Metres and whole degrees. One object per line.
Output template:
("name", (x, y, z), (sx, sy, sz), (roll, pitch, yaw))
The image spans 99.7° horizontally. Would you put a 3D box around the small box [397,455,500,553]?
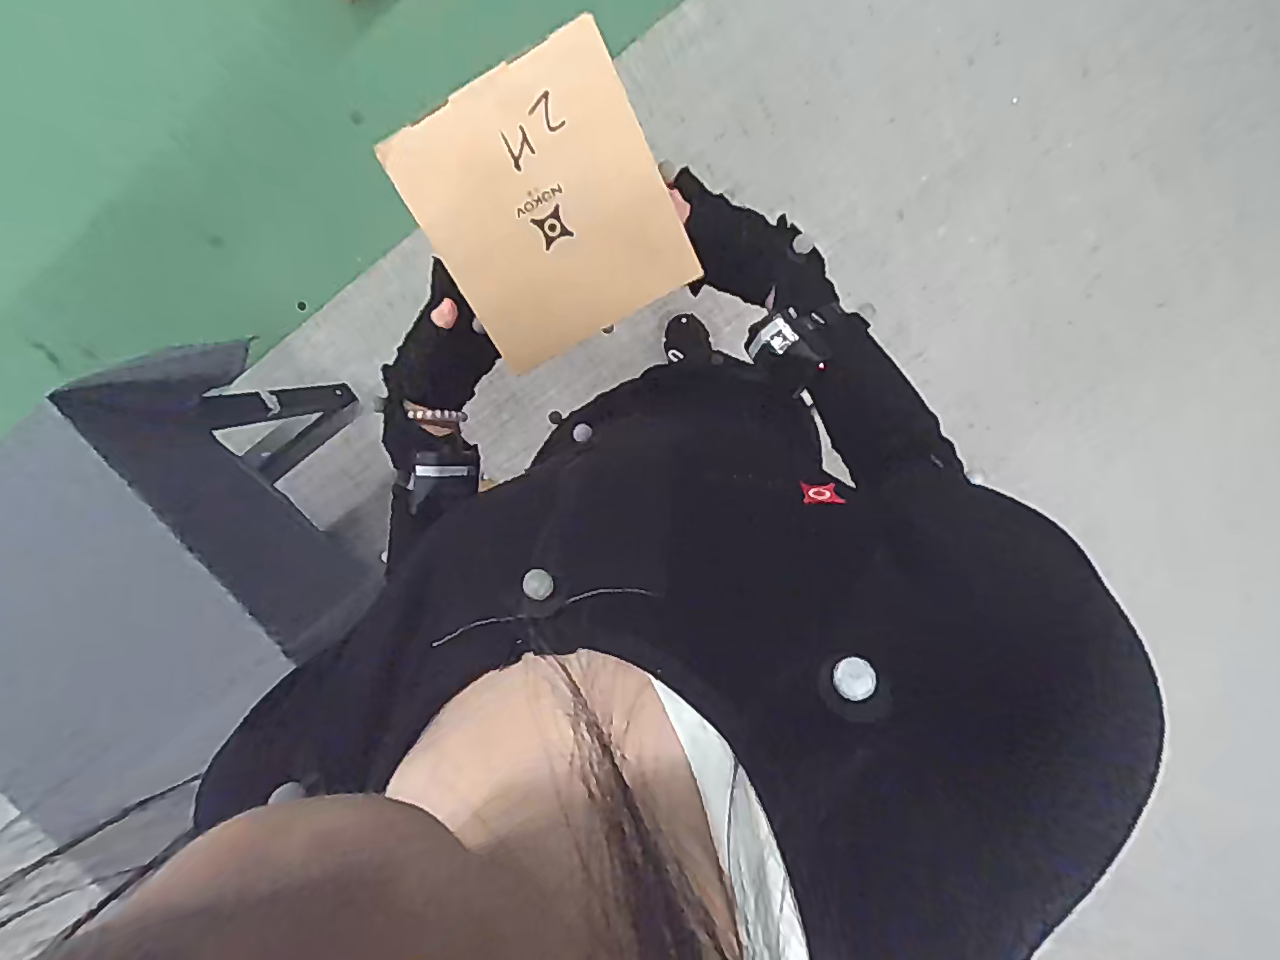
("small box", (-0.502, 0.058, 1.448), (0.168, 0.176, 0.179), (42, 103, -8))
